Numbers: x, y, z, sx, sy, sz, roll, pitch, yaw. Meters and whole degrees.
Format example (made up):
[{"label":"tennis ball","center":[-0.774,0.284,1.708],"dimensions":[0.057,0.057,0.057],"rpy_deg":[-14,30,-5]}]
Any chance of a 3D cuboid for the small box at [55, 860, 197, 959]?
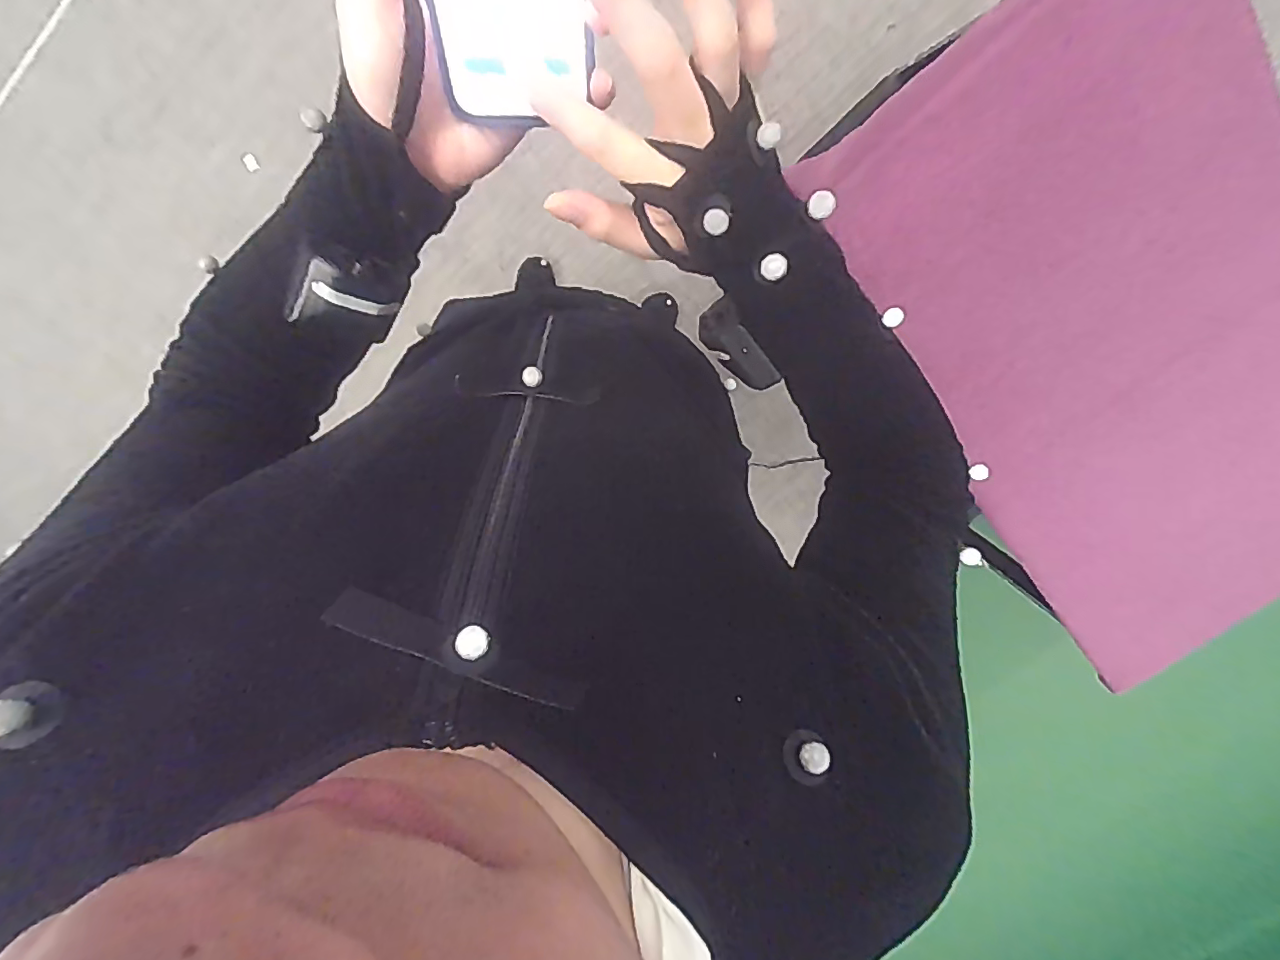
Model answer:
[{"label":"small box","center":[-1.220,1.058,1.290],"dimensions":[0.179,0.176,0.168],"rpy_deg":[-33,109,9]}]
